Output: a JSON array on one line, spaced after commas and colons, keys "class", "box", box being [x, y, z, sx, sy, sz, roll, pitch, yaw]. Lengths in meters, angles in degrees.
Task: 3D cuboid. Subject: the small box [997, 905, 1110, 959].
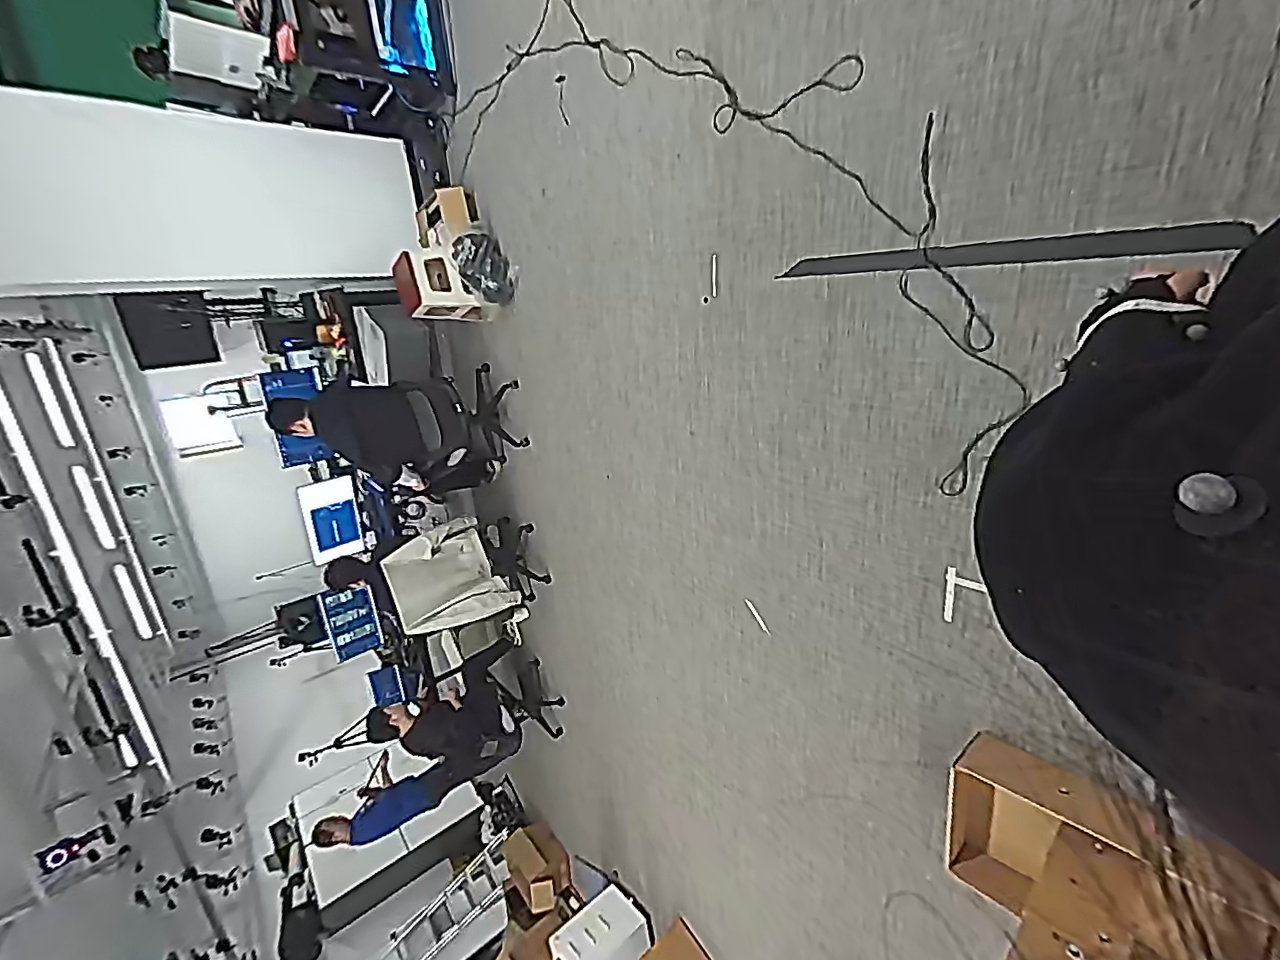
[{"class": "small box", "box": [0.869, 1.067, 1.135, 0.168, 0.176, 0.179, 8, 111, 49]}]

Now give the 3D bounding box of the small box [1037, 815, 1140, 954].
[{"class": "small box", "box": [1.111, 0.989, 1.339, 0.168, 0.176, 0.179, 9, 112, 49]}]
